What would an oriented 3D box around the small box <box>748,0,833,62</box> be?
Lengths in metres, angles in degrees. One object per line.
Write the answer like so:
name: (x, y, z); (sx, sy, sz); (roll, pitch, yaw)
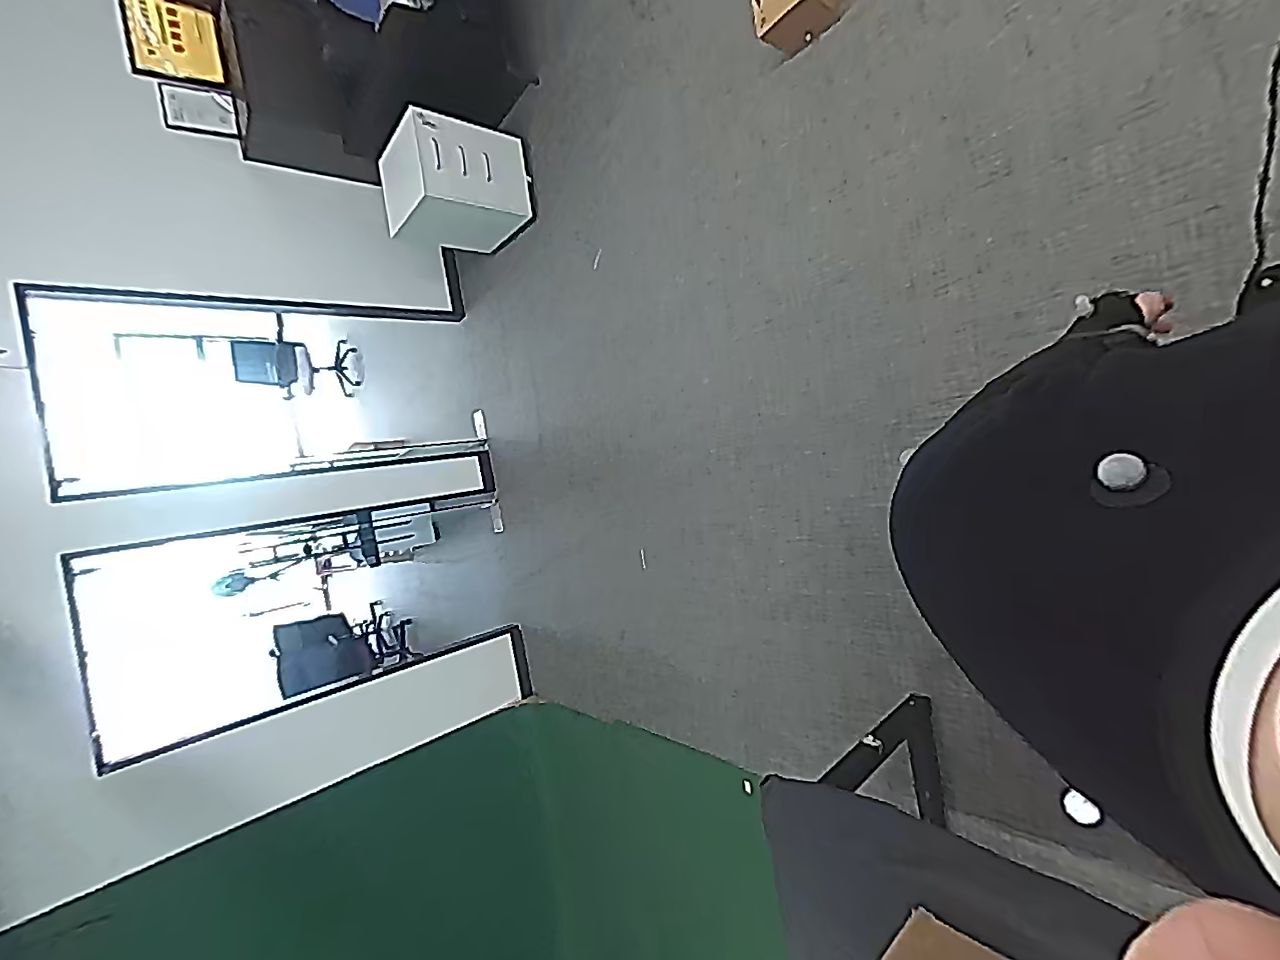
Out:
small box: (0.436, -1.364, 1.554); (0.179, 0.176, 0.168); (-8, 91, 50)
